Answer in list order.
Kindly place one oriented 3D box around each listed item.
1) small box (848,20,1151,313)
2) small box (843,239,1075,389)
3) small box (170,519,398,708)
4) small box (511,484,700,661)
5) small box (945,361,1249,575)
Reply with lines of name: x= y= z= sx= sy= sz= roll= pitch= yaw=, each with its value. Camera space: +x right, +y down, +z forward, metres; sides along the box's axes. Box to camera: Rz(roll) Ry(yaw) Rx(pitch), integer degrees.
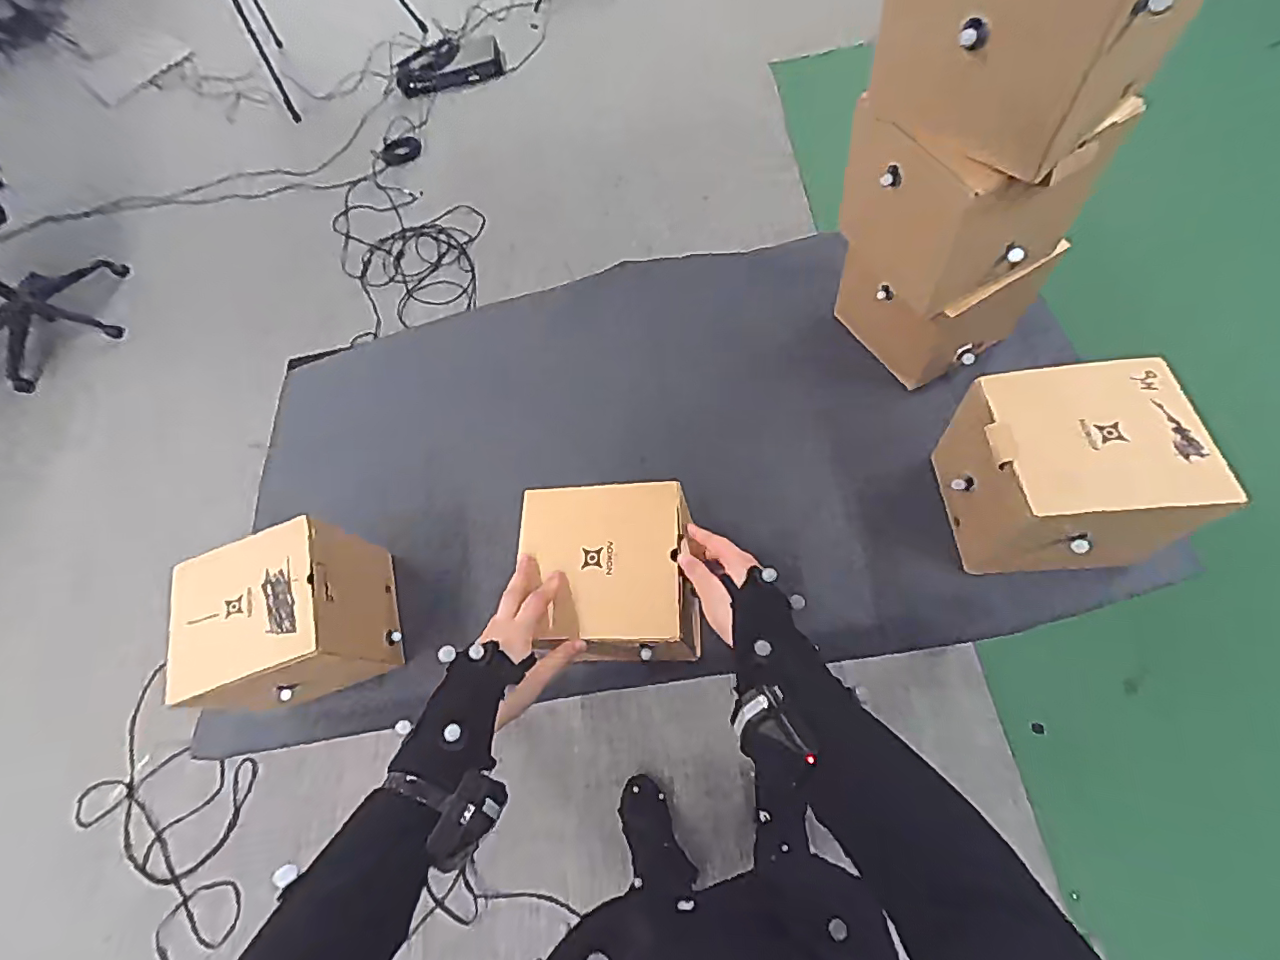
small box: x=0.341 y=-0.313 z=0.563 sx=0.168 sy=0.176 sz=0.179 roll=-28 pitch=65 yaw=1
small box: x=0.393 y=-0.254 z=0.709 sx=0.168 sy=0.176 sz=0.179 roll=-31 pitch=66 yaw=-1
small box: x=-0.423 y=0.171 z=0.672 sx=0.179 sy=0.176 sz=0.168 roll=-20 pitch=65 yaw=2
small box: x=-0.027 y=0.115 z=0.626 sx=0.179 sy=0.176 sz=0.168 roll=-4 pitch=66 yaw=10
small box: x=0.452 y=-0.002 z=0.581 sx=0.179 sy=0.176 sz=0.168 roll=-5 pitch=62 yaw=9
